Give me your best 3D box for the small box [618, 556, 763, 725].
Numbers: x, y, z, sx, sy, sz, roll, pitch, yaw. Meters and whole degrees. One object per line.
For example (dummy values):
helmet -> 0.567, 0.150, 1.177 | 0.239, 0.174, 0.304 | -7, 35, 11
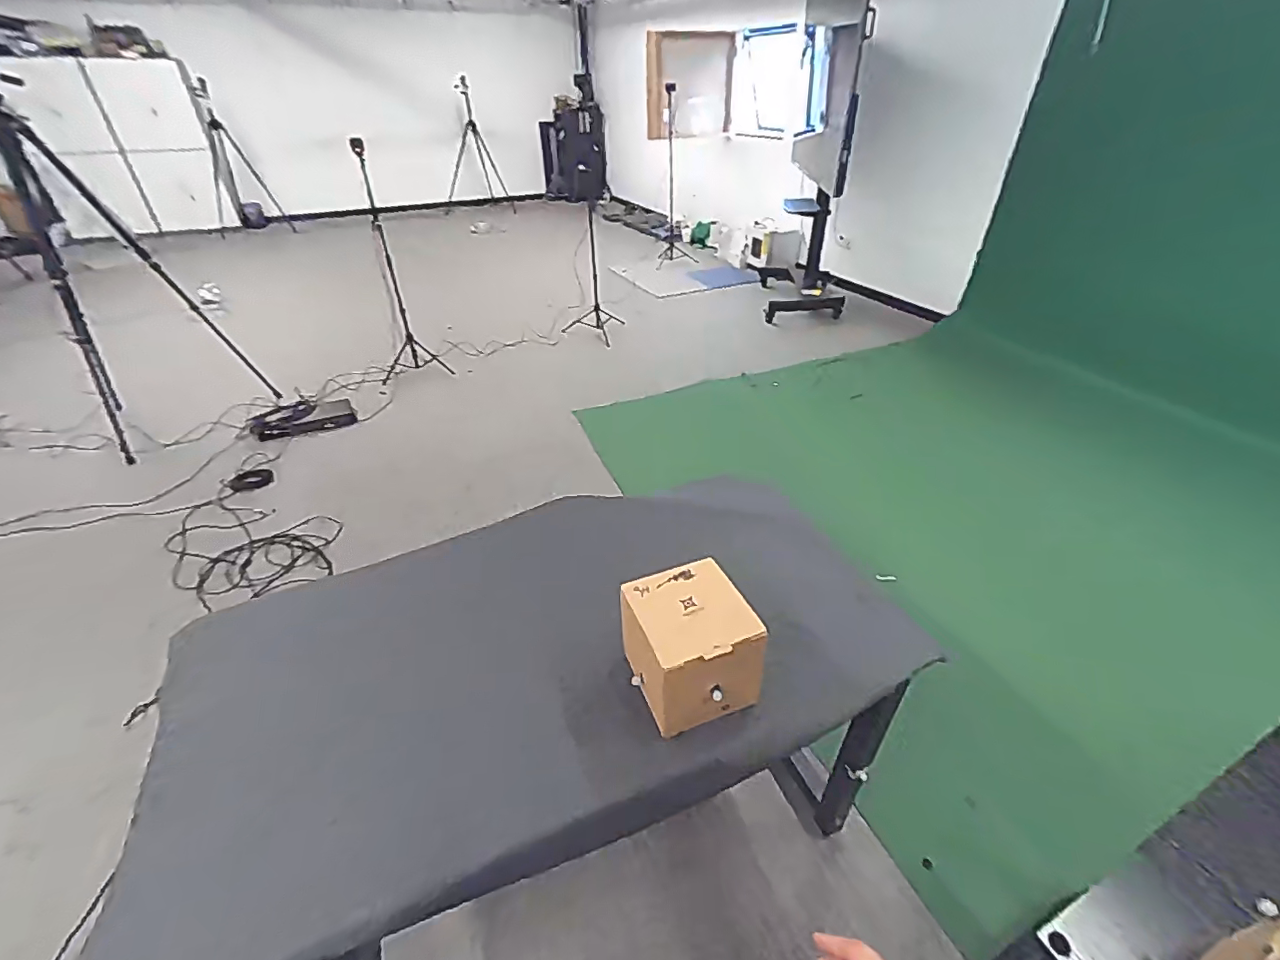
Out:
small box -> 0.075, 0.256, 0.852 | 0.168, 0.176, 0.179 | -15, 37, -16
